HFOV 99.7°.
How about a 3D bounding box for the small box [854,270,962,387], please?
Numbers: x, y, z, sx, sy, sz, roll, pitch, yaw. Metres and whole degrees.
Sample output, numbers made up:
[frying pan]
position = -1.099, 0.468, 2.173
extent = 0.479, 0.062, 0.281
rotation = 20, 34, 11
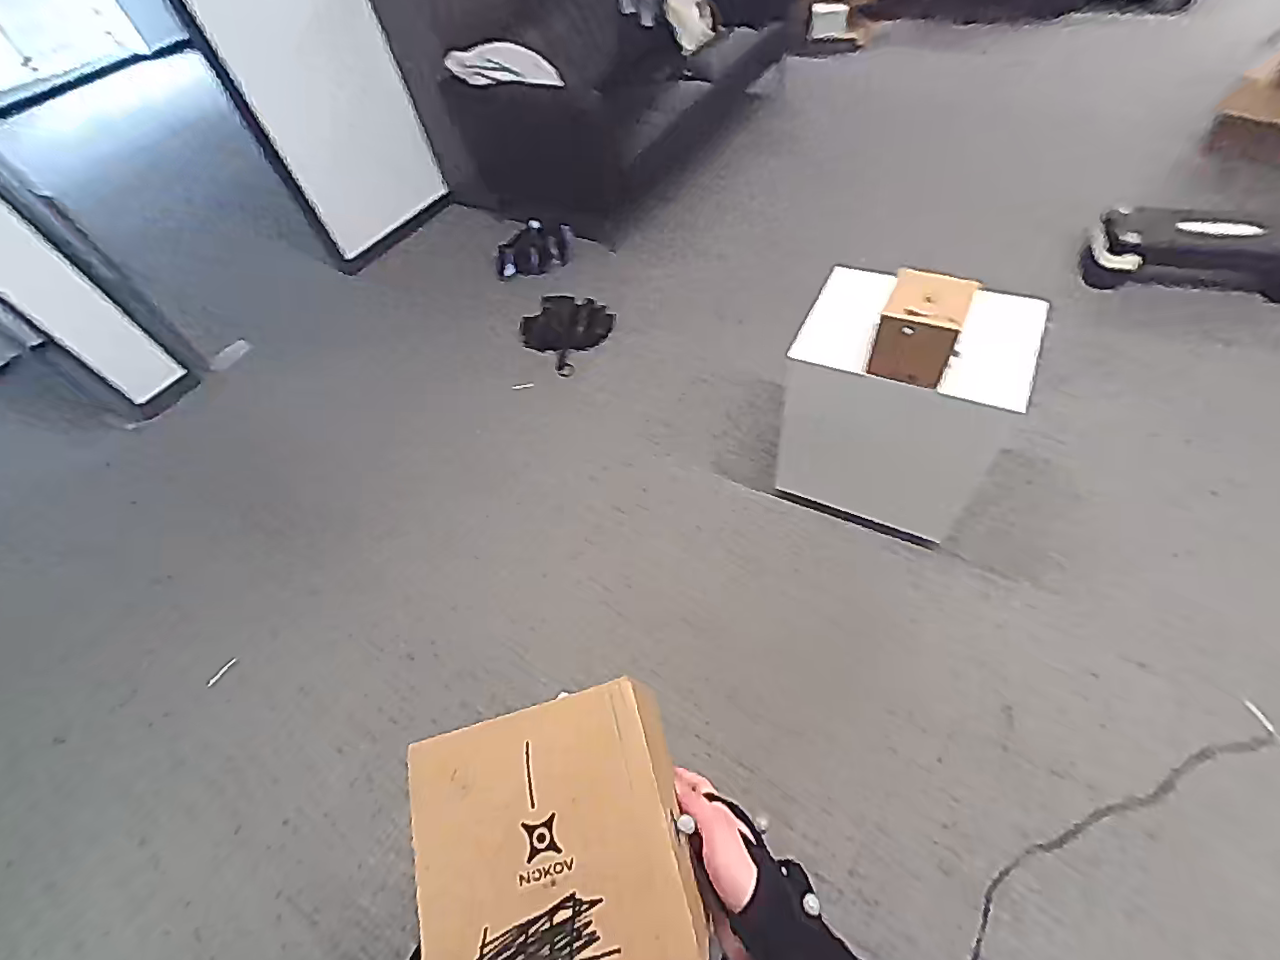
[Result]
[small box]
position = 0.596, -0.341, 1.219
extent = 0.168, 0.176, 0.179
rotation = 19, 57, 22
